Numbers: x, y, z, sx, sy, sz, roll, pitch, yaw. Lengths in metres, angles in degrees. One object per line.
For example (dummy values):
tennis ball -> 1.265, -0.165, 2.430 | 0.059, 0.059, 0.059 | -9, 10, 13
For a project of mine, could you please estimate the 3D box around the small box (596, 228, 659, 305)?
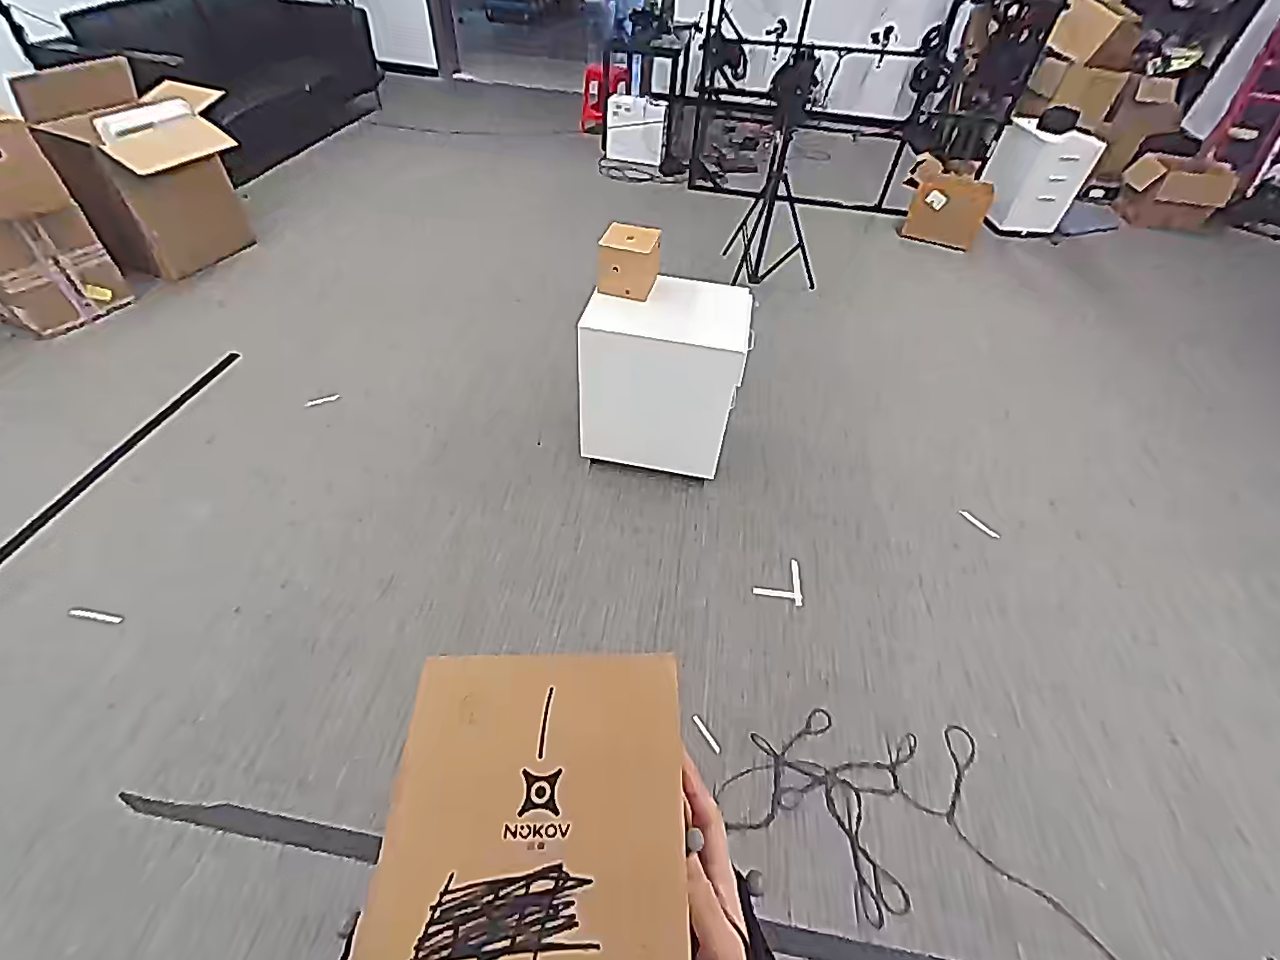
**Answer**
small box -> -0.039, -0.693, 1.762 | 0.168, 0.176, 0.179 | 13, 47, 6
